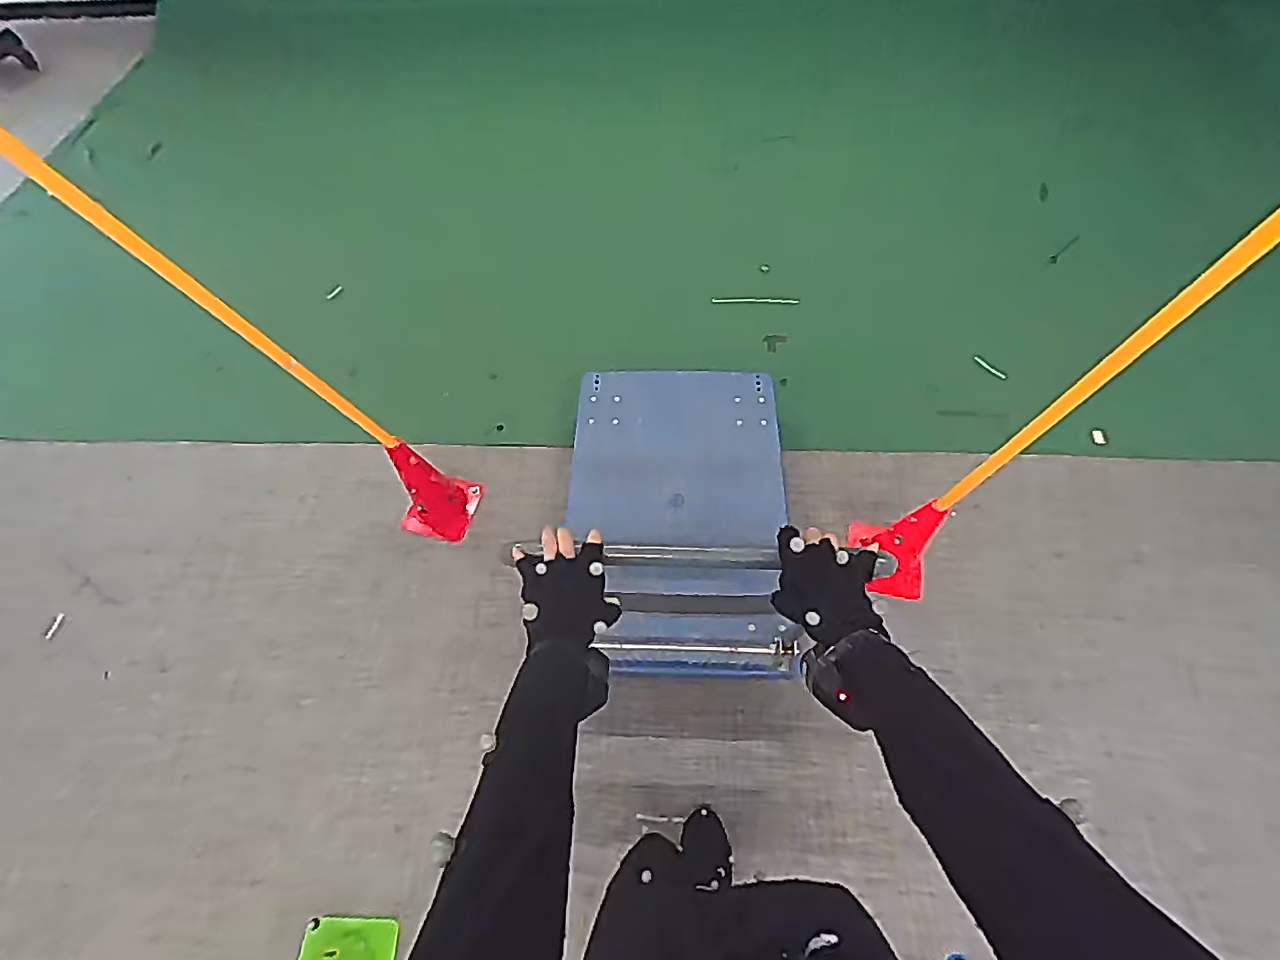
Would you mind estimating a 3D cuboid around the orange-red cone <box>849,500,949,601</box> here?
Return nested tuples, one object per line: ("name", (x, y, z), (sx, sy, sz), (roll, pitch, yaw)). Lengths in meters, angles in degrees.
("orange-red cone", (0.678, 0.146, 1.354), (0.198, 0.360, 0.199), (11, 63, 9))
